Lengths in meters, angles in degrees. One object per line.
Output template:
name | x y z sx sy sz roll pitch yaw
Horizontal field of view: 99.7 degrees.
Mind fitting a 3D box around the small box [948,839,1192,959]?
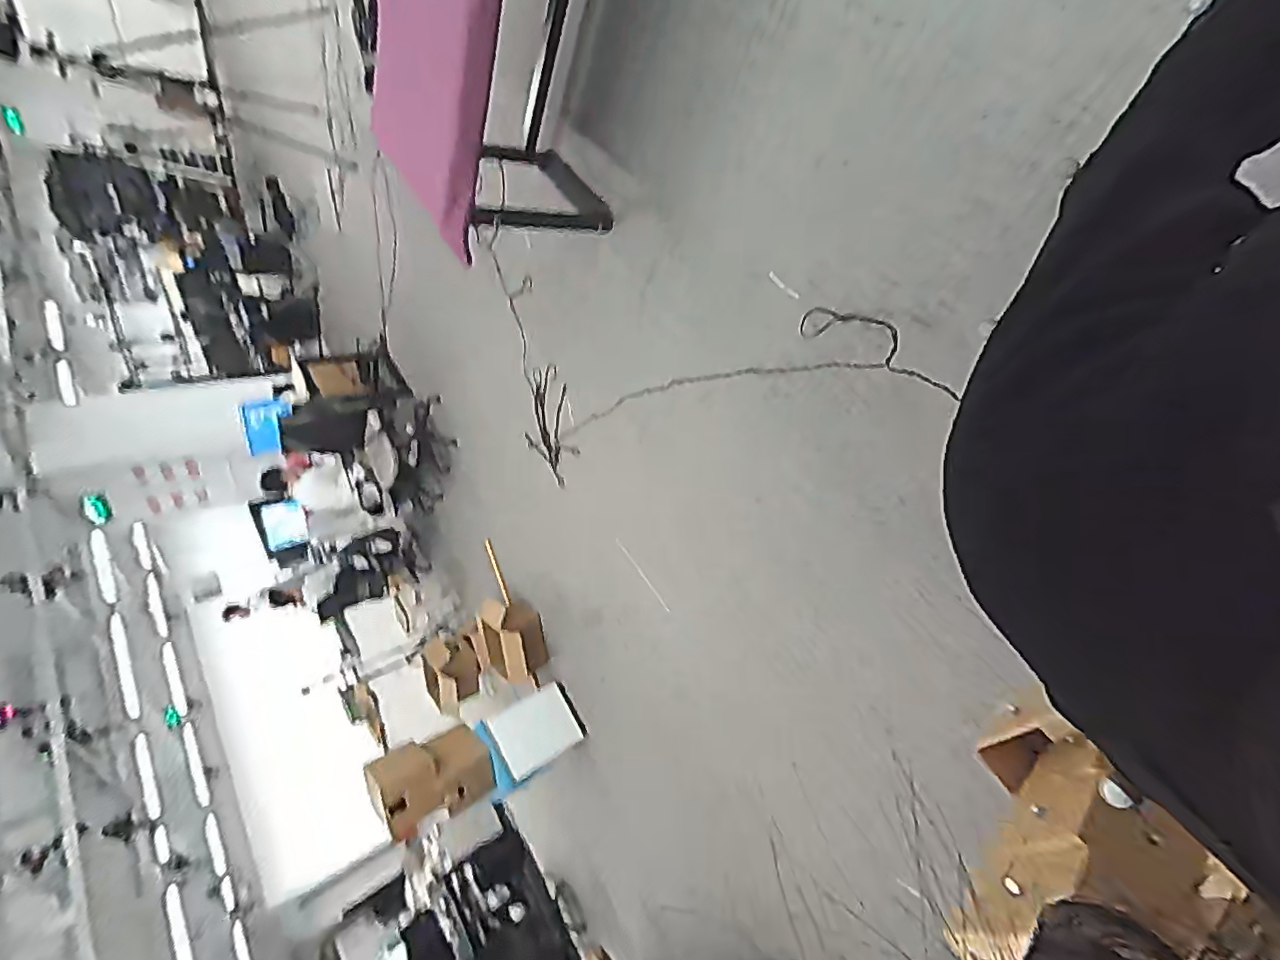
small box | 0.569 0.617 0.721 0.168 0.176 0.179 56 140 20
